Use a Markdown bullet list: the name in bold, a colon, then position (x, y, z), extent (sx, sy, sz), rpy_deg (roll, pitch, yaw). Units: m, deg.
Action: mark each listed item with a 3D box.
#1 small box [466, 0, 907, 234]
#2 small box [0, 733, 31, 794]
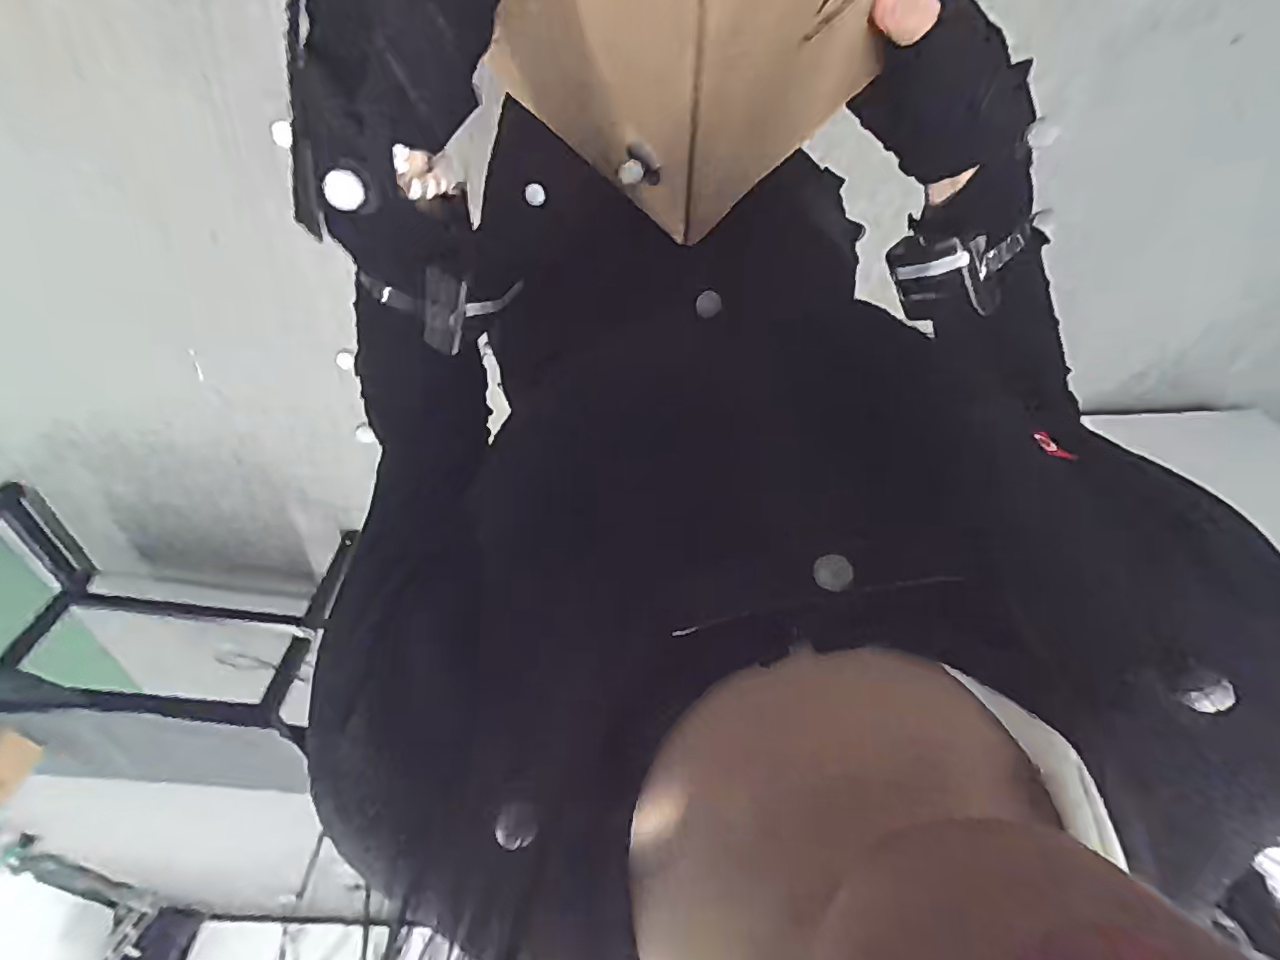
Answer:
- **small box**: position (0.020, -0.258, 0.230), extent (0.168, 0.179, 0.176), rpy_deg (-45, 82, -4)
- **small box**: position (-1.862, 0.799, 1.482), extent (0.168, 0.176, 0.179), rpy_deg (7, 133, -8)
